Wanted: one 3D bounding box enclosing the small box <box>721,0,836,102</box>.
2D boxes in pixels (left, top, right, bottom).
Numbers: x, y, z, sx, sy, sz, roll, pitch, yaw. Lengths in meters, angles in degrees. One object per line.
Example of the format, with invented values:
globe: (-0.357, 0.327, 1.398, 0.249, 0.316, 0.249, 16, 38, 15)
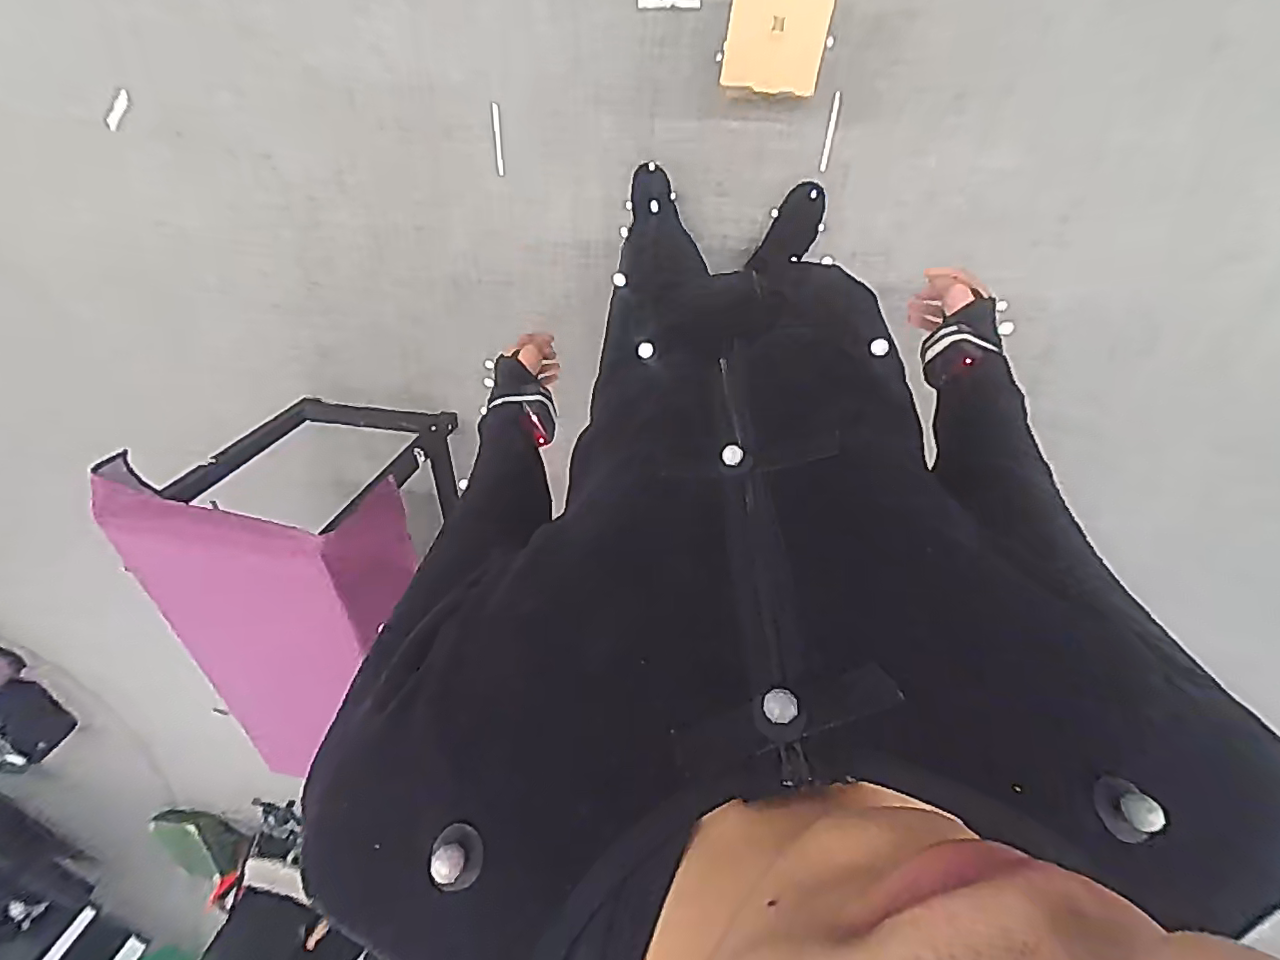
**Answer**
small box: (0.242, -0.795, 0.969, 0.168, 0.176, 0.179, 10, 127, 4)
